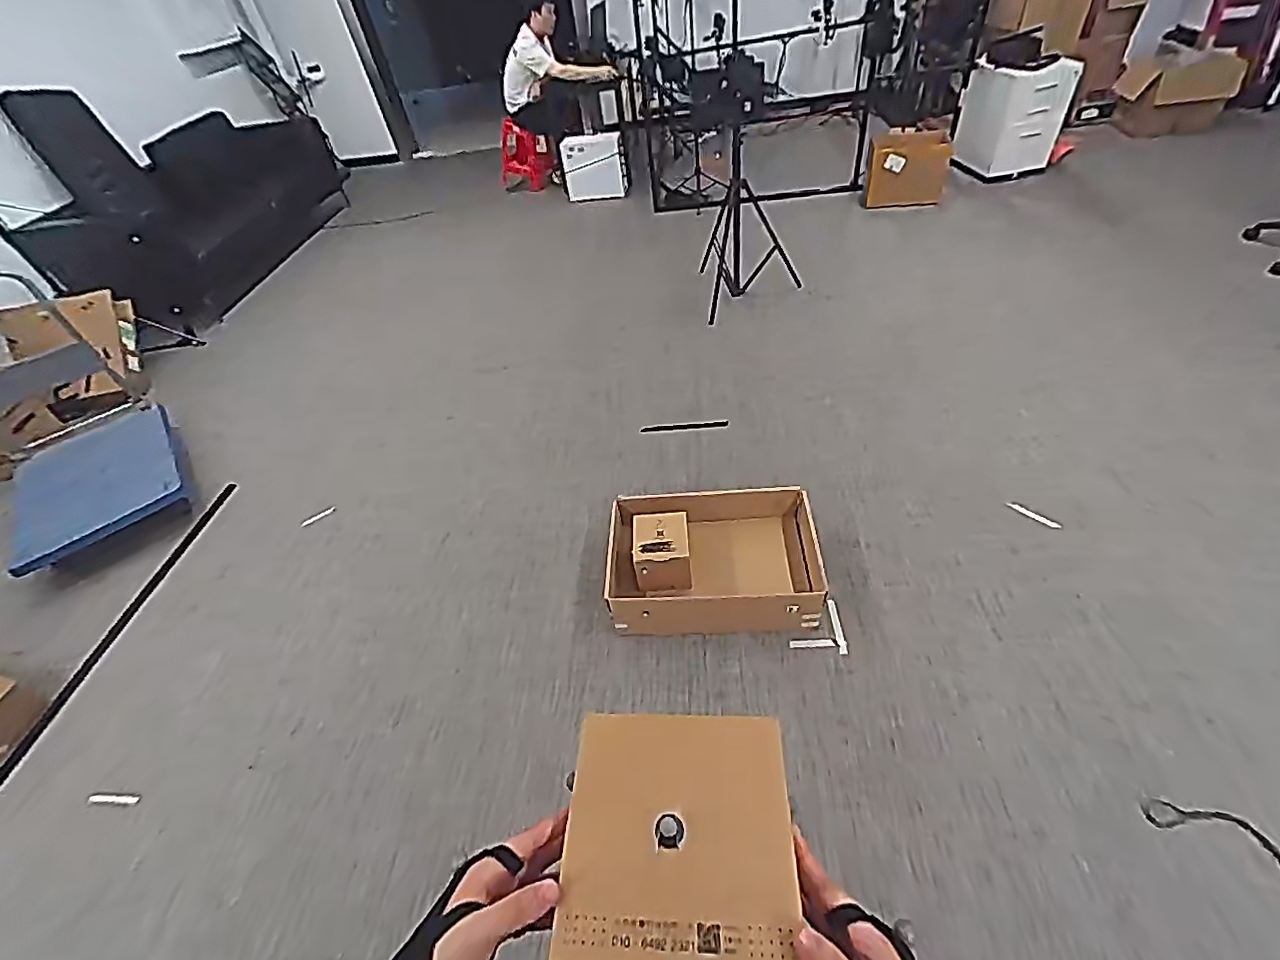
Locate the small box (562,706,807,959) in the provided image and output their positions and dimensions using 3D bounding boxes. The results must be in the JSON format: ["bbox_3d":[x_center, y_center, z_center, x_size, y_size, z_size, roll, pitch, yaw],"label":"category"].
[{"bbox_3d":[0.039,0.309,0.452,0.168,0.179,0.176,-2,42,8],"label":"small box"}]
